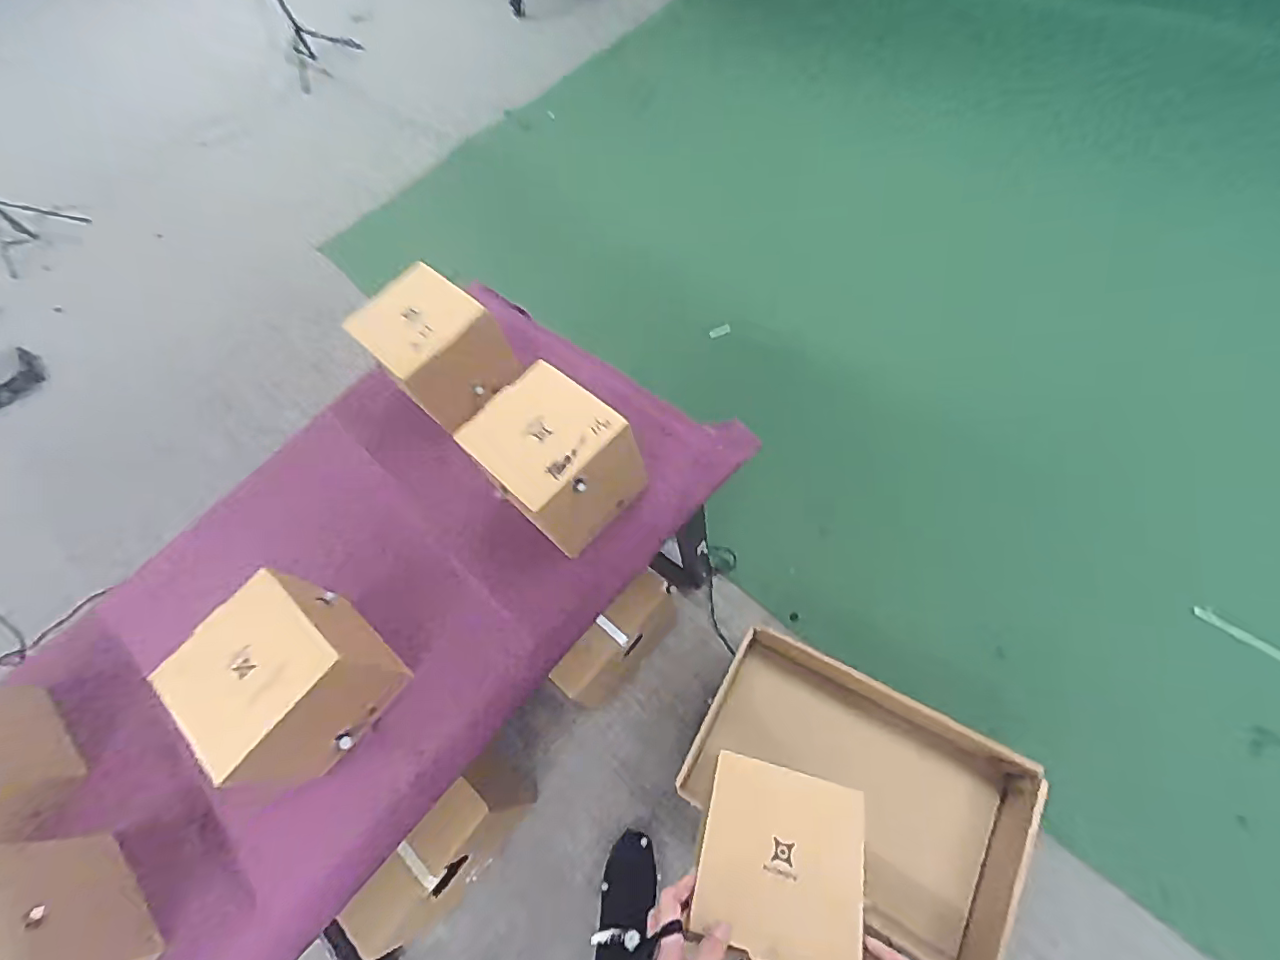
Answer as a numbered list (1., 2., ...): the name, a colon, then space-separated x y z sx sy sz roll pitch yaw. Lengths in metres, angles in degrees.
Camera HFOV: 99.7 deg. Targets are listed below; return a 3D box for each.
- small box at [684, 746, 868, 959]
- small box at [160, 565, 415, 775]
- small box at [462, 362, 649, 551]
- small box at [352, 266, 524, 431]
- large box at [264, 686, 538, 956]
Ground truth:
1. small box: 0.147 0.435 0.612 0.168 0.176 0.179 12 51 10
2. small box: -0.429 0.243 0.682 0.179 0.176 0.168 35 73 24
3. small box: -0.111 -0.027 0.770 0.179 0.176 0.168 38 76 27
4. small box: -0.328 -0.213 0.903 0.179 0.176 0.168 39 76 23
5. large box: -0.505 0.708 1.203 0.408 0.320 0.320 33 71 24
